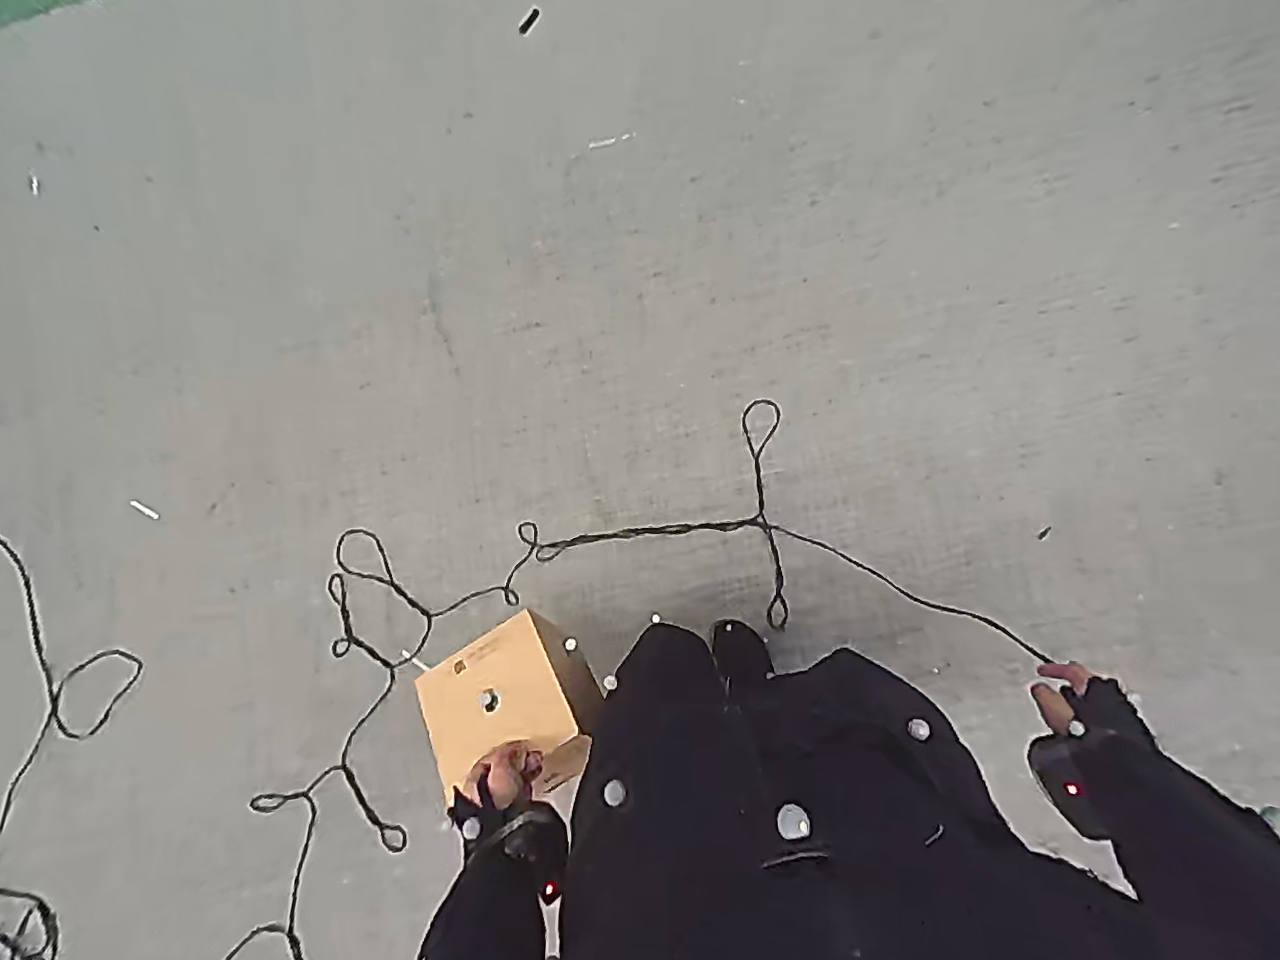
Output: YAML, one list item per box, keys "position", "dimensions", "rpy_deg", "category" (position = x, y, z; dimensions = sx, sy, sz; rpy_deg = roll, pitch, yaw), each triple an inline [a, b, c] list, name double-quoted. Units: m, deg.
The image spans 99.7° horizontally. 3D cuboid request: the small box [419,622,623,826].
- position: [-0.151, 0.306, 0.694]
  dimensions: [0.168, 0.179, 0.176]
  rpy_deg: [-33, 59, -3]
  category: "small box"
